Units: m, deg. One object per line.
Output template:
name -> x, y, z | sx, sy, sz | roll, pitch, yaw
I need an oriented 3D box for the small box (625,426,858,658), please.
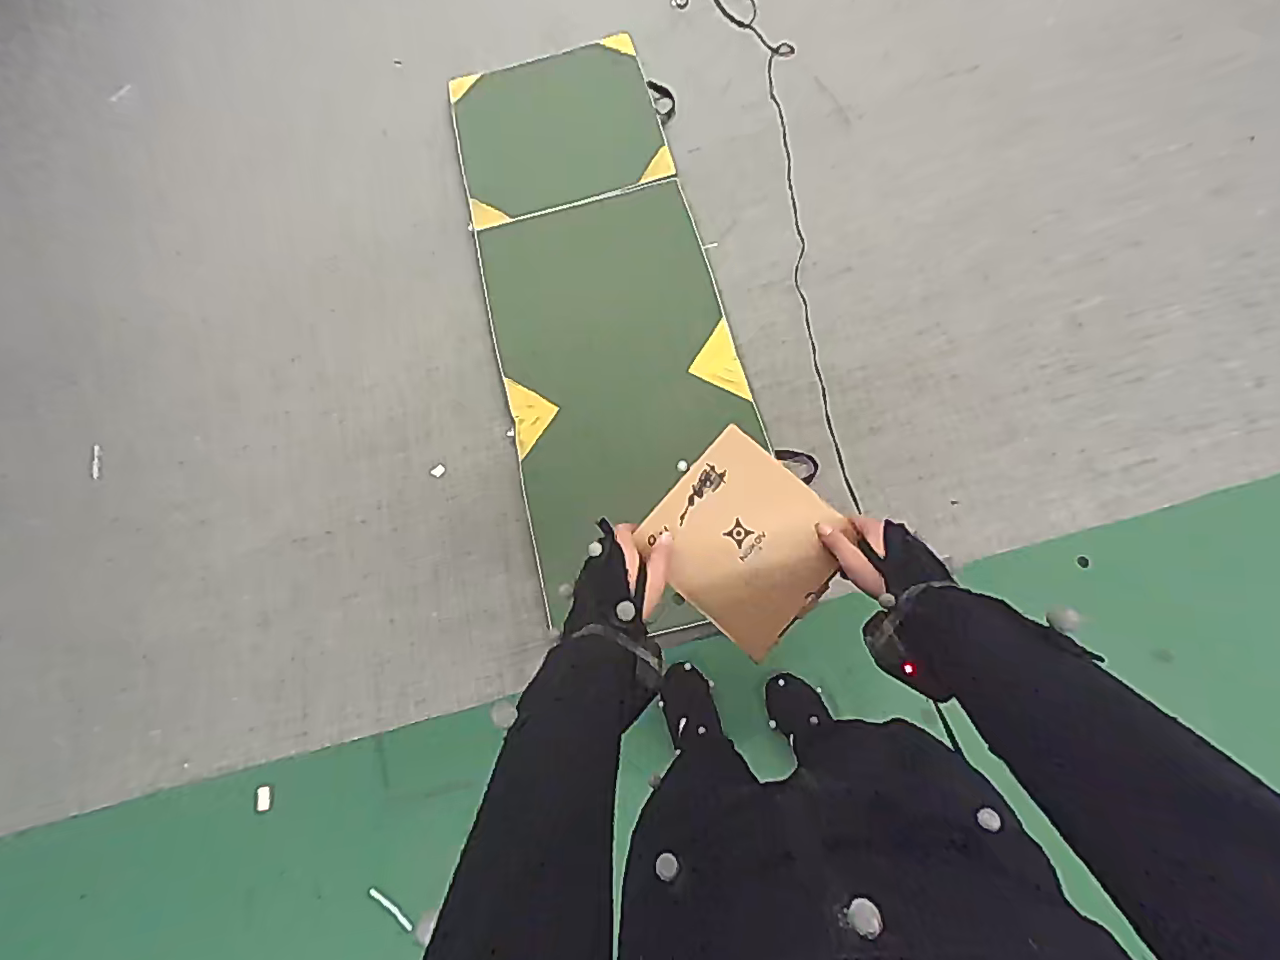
small box -> 0.104, 0.068, 0.617 | 0.179, 0.176, 0.168 | 42, 85, 7
